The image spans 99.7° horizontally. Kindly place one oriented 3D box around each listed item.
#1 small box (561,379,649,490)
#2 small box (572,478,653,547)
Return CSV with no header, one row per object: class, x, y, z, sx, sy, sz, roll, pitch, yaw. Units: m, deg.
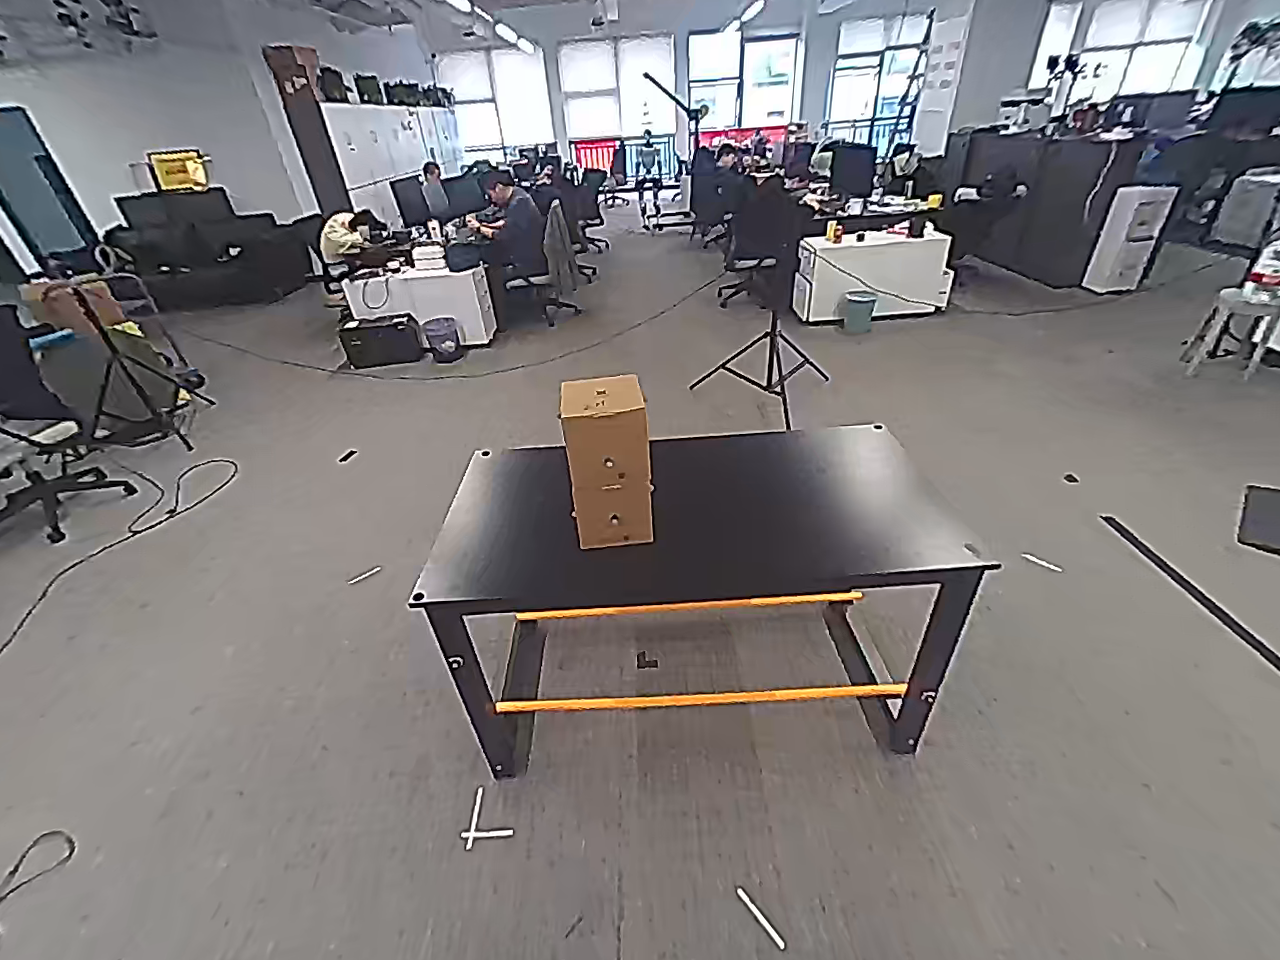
small box,-0.074,-0.099,1.159,0.168,0.176,0.179,-8,34,-3
small box,-0.062,0.041,1.247,0.168,0.176,0.179,-6,34,-2
